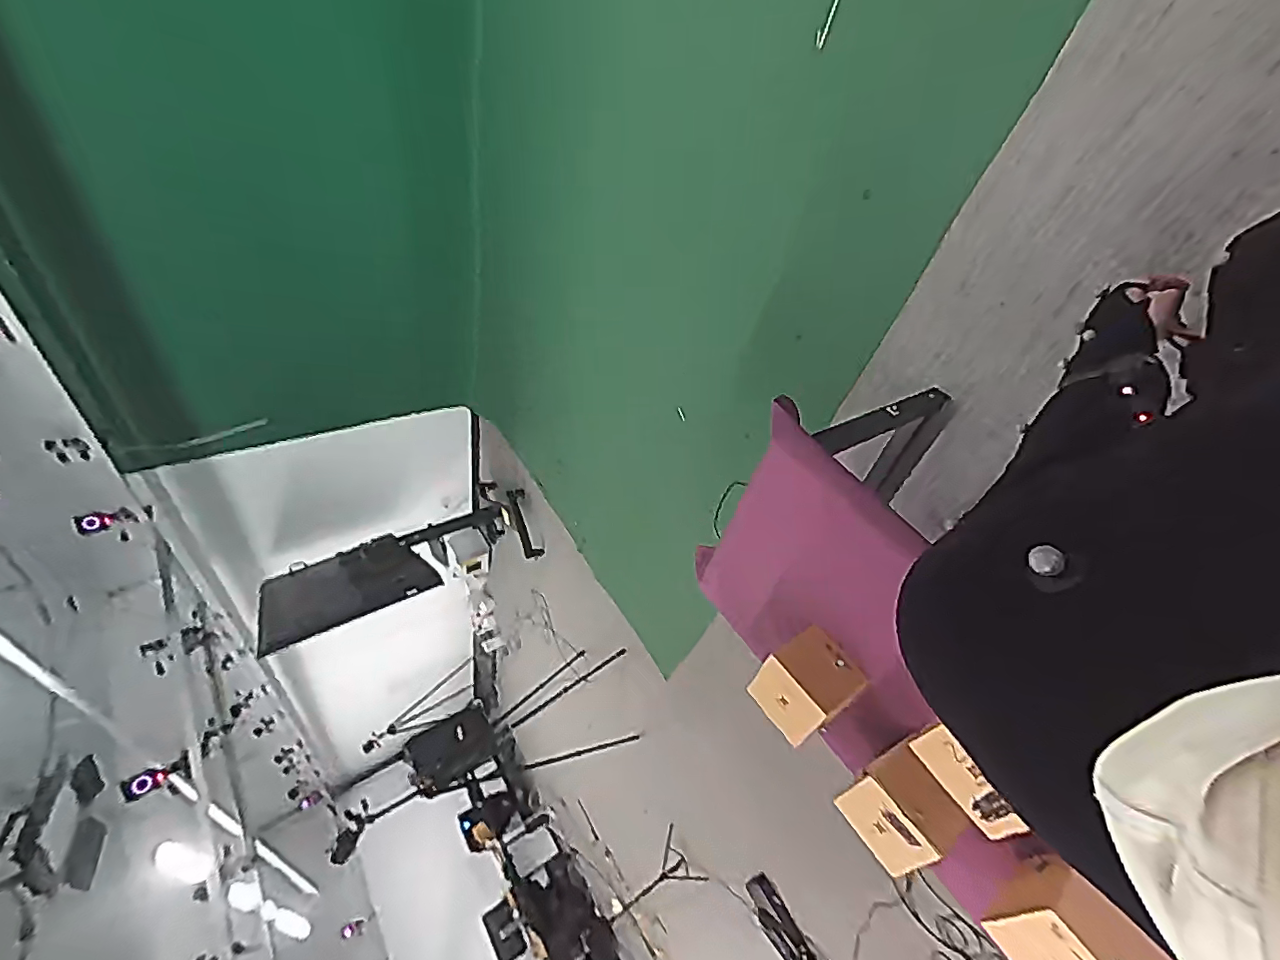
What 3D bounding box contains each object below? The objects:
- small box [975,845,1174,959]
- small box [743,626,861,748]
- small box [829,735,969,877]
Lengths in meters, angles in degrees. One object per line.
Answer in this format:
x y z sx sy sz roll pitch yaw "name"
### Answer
0.710 0.745 0.888 0.168 0.176 0.179 49 142 29 "small box"
0.376 0.475 1.255 0.168 0.176 0.179 48 140 31 "small box"
0.535 0.664 1.112 0.168 0.176 0.179 49 142 31 "small box"
